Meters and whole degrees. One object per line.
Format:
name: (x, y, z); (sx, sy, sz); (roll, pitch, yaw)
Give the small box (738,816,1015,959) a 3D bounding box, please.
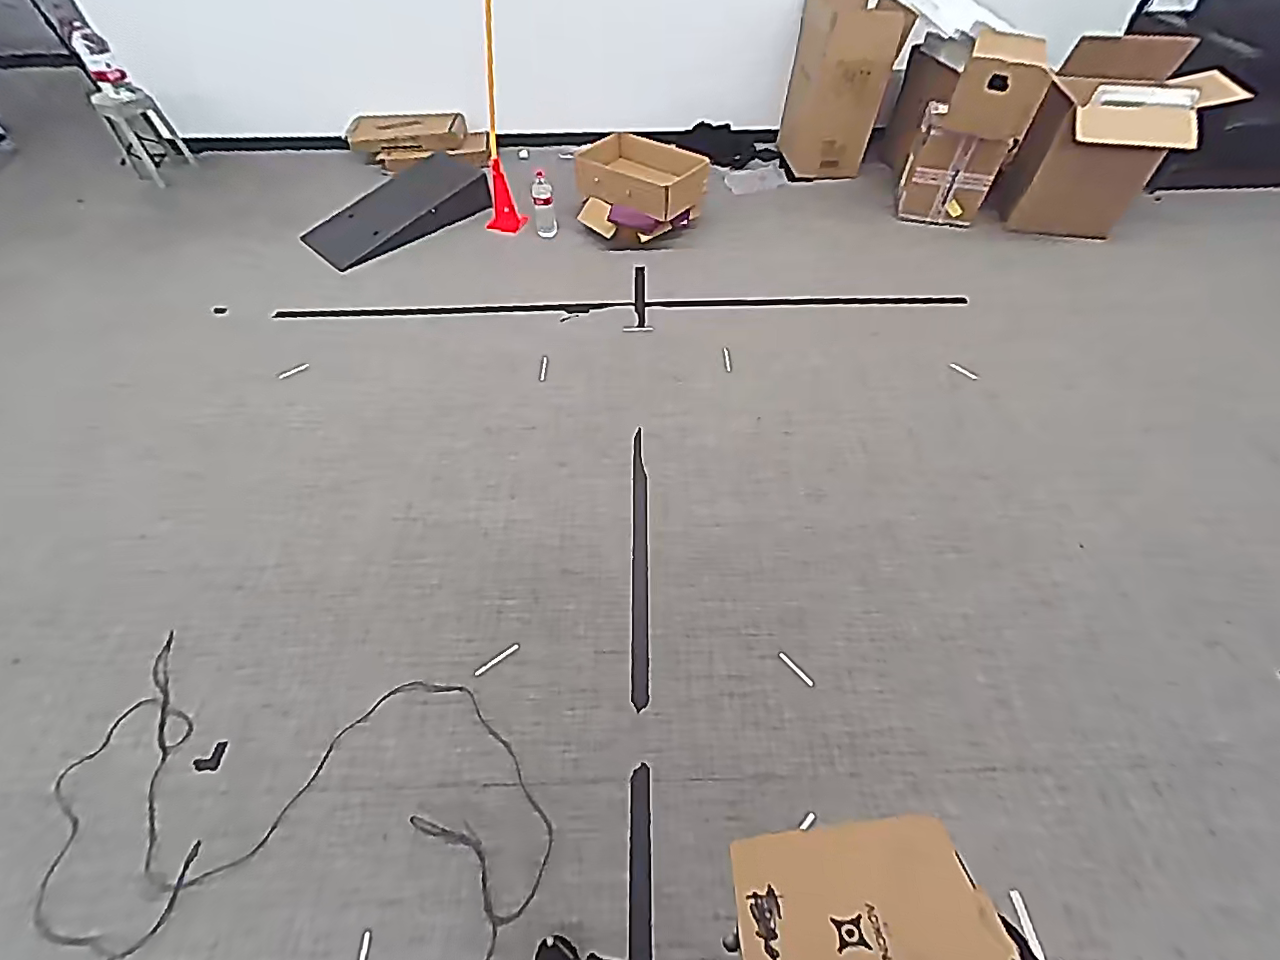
small box: (0.181, 0.399, 0.411); (0.179, 0.176, 0.168); (-12, 16, 7)
